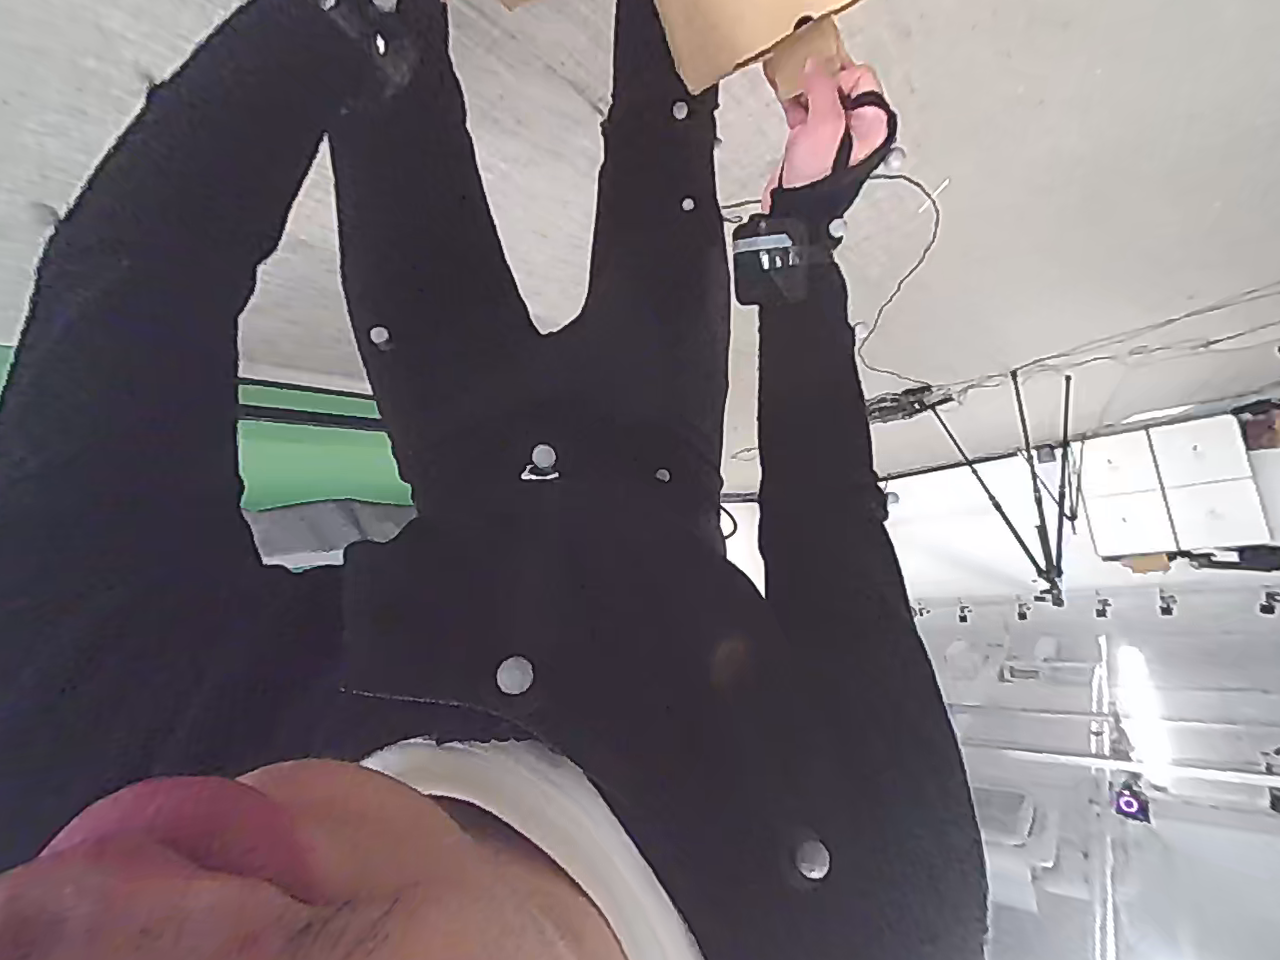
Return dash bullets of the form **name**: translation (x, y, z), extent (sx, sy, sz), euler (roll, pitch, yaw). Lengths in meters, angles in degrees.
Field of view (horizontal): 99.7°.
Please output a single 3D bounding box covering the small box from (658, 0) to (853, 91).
- **small box**: translation (0.075, -0.421, 0.379), extent (0.168, 0.176, 0.179), euler (-21, 128, 19)
